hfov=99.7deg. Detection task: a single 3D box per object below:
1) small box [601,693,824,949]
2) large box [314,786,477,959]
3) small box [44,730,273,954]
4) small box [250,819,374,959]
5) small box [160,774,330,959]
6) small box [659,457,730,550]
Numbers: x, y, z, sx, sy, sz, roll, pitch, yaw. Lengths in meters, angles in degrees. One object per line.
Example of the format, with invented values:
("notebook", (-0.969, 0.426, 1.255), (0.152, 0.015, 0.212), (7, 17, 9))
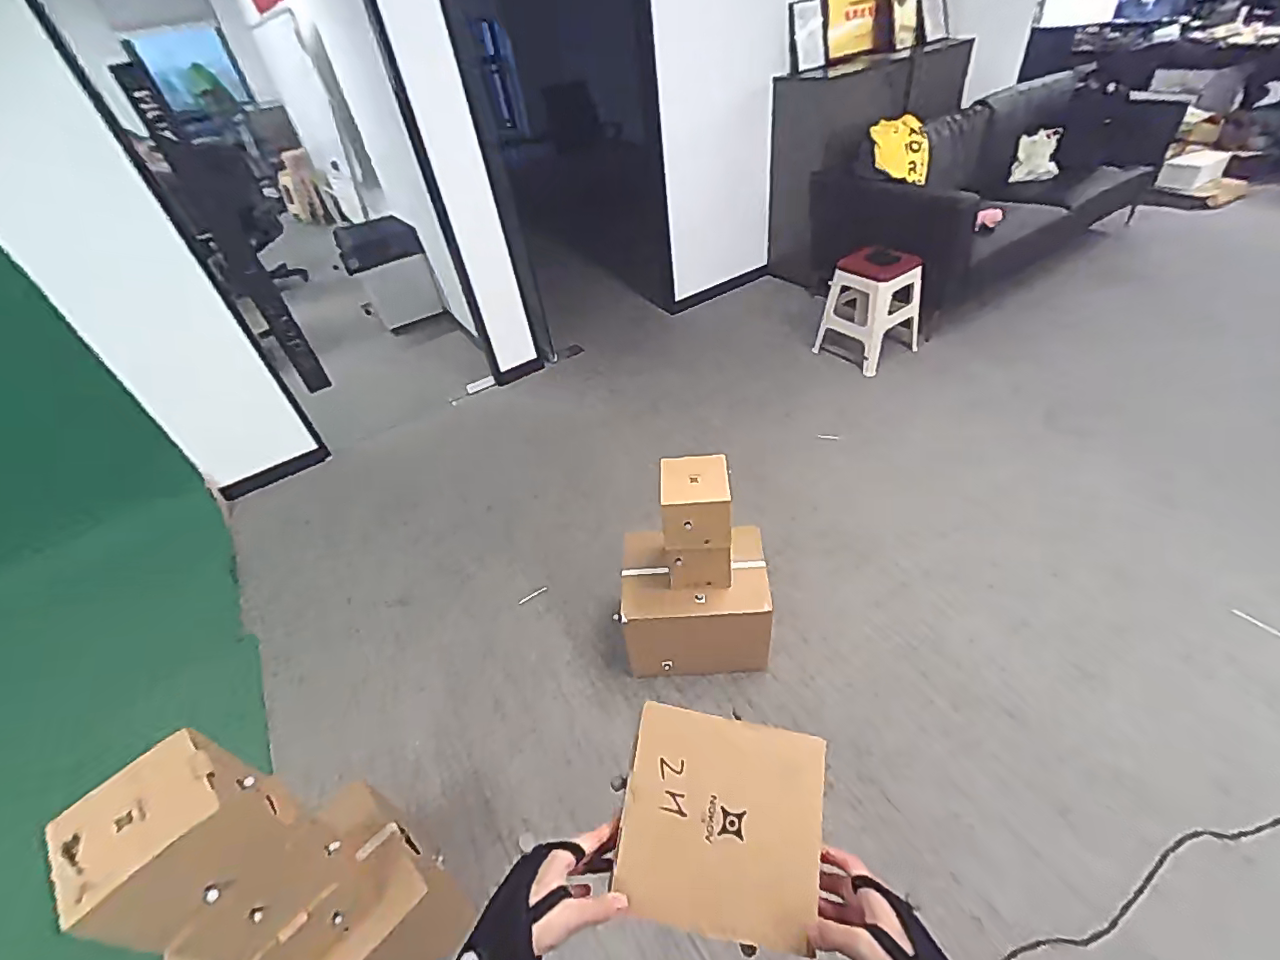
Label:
("small box", (0.067, 0.322, 0.544), (0.179, 0.176, 0.168), (11, 65, 4))
("large box", (-0.623, 0.950, 1.113), (0.320, 0.320, 0.408), (27, 53, 36))
("small box", (-0.655, 0.502, 0.756), (0.168, 0.176, 0.179), (28, 51, 35))
("small box", (-0.614, 0.750, 0.967), (0.179, 0.176, 0.168), (28, 53, 35))
("small box", (-0.633, 0.624, 0.864), (0.168, 0.176, 0.179), (27, 53, 34))
("small box", (0.137, 0.065, 1.364), (0.168, 0.176, 0.179), (-4, 39, 5))
